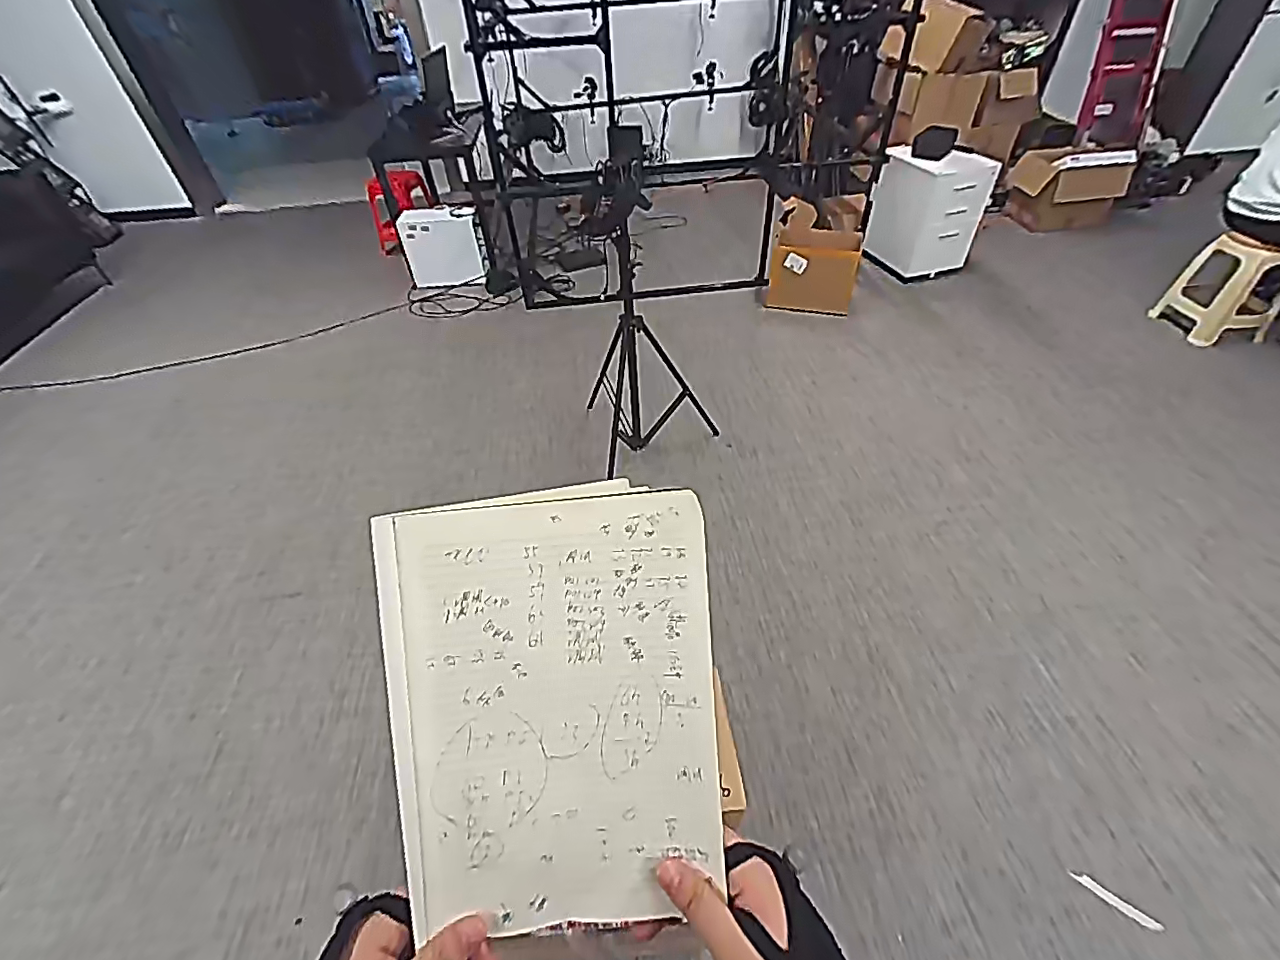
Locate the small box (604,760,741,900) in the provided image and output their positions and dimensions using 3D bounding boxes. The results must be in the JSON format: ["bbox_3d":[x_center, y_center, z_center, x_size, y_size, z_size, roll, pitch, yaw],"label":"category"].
[{"bbox_3d":[0.041,0.523,0.832,0.179,0.176,0.168,-7,45,-5],"label":"small box"}]

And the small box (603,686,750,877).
[{"bbox_3d":[0.036,0.401,0.722,0.168,0.176,0.179,-4,45,-4],"label":"small box"}]
